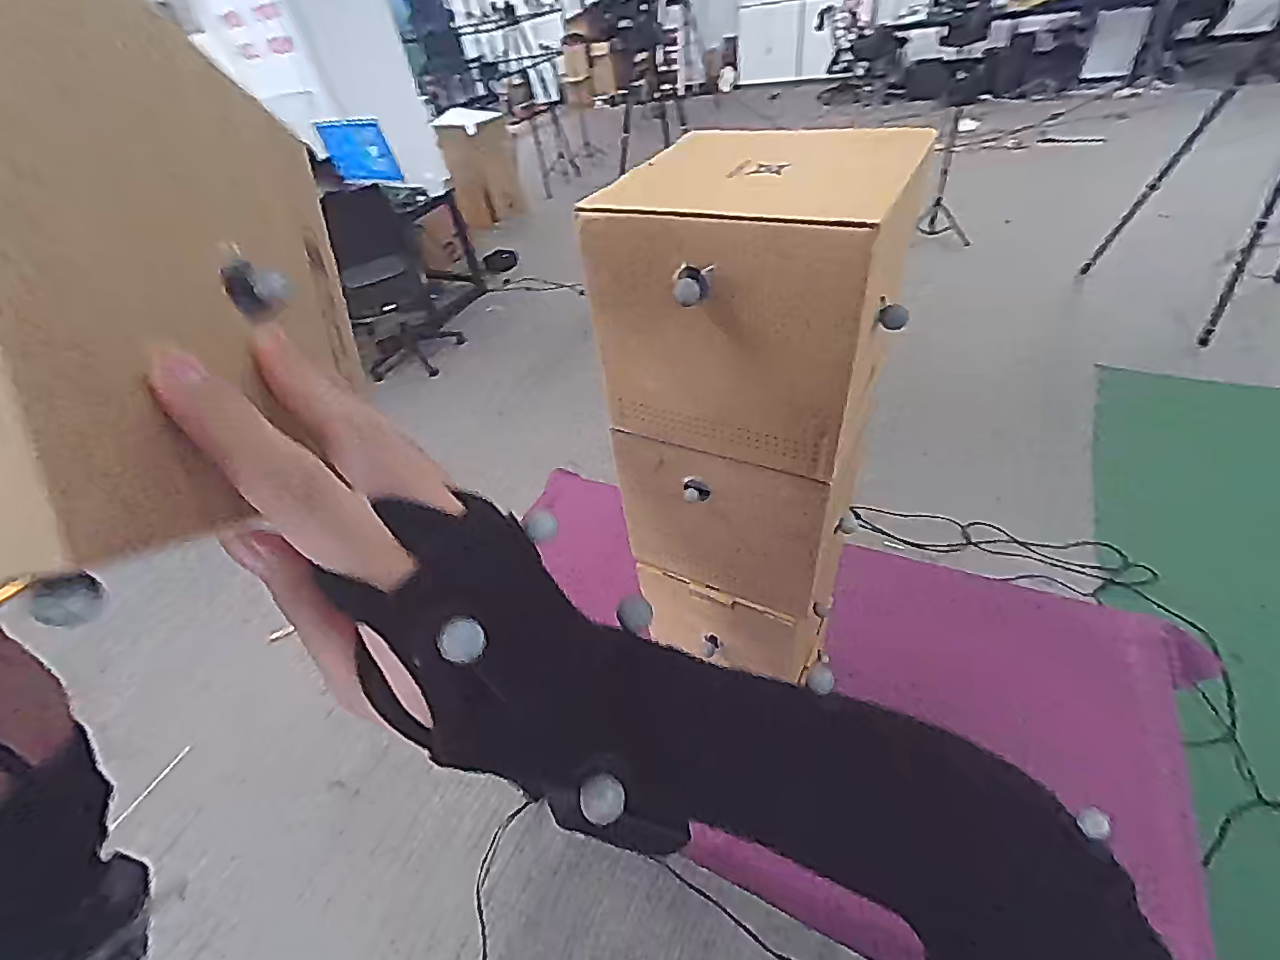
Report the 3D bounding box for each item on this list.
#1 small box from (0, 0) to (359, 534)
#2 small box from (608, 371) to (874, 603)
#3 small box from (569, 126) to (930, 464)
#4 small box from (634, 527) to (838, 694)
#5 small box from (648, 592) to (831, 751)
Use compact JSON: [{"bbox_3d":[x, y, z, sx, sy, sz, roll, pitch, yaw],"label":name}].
[{"bbox_3d":[-0.220,-0.068,0.179,0.179,0.168,0.176,-10,7,-2],"label":"small box"},{"bbox_3d":[0.095,-0.015,0.498,0.179,0.176,0.168,17,49,25],"label":"small box"},{"bbox_3d":[0.081,-0.132,0.387,0.179,0.176,0.168,16,49,26],"label":"small box"},{"bbox_3d":[0.116,0.106,0.608,0.168,0.176,0.179,18,50,26],"label":"small box"},{"bbox_3d":[0.134,0.227,0.715,0.179,0.176,0.168,17,50,27],"label":"small box"}]
